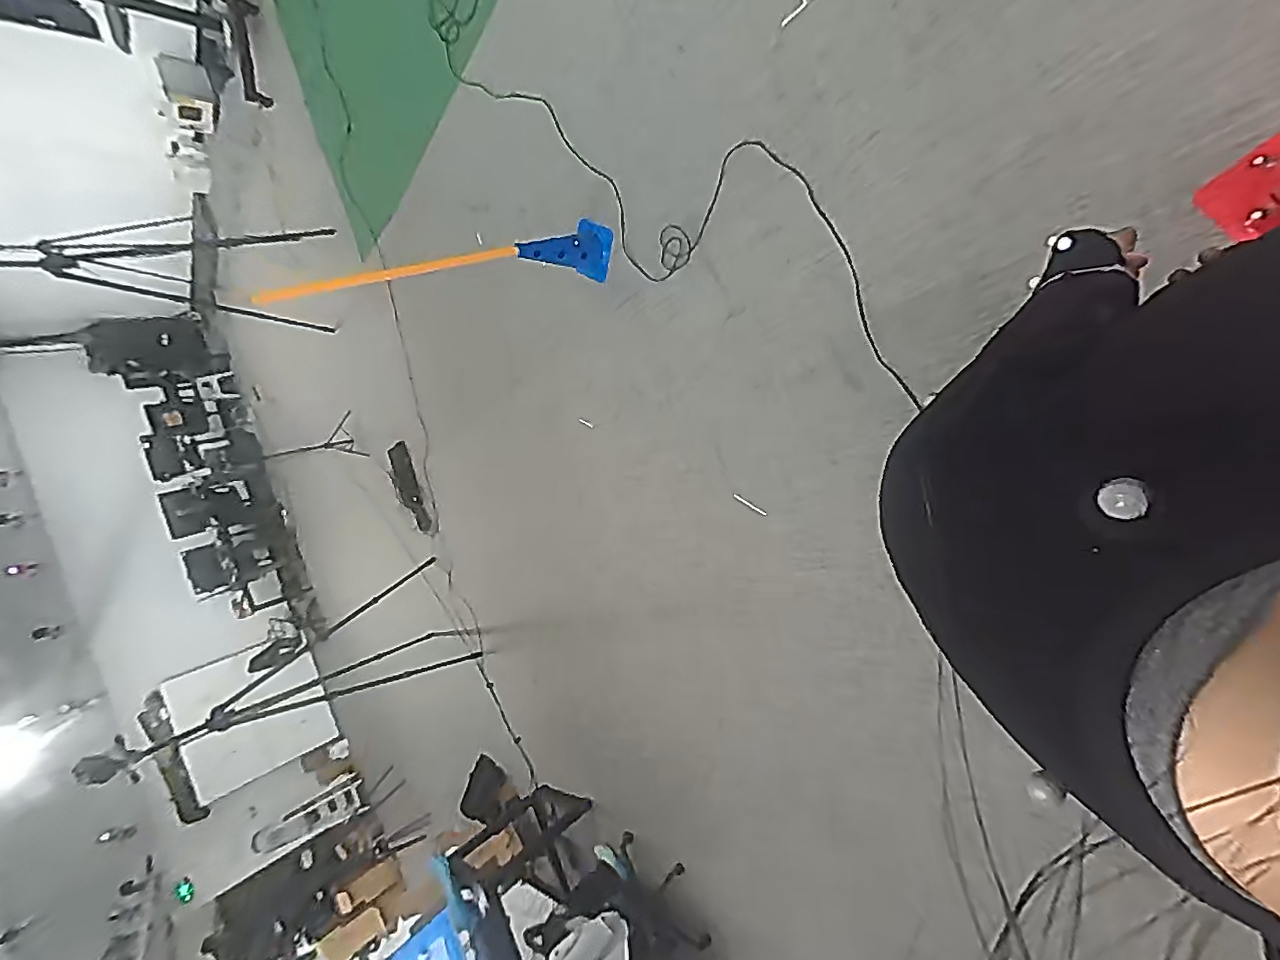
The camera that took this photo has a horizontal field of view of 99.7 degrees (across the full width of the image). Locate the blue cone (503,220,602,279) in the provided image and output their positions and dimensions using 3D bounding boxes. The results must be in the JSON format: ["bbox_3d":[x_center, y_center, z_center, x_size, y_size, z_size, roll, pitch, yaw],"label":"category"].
[{"bbox_3d":[-0.331,-0.849,1.990,0.192,0.380,0.193,35,128,31],"label":"blue cone"}]
